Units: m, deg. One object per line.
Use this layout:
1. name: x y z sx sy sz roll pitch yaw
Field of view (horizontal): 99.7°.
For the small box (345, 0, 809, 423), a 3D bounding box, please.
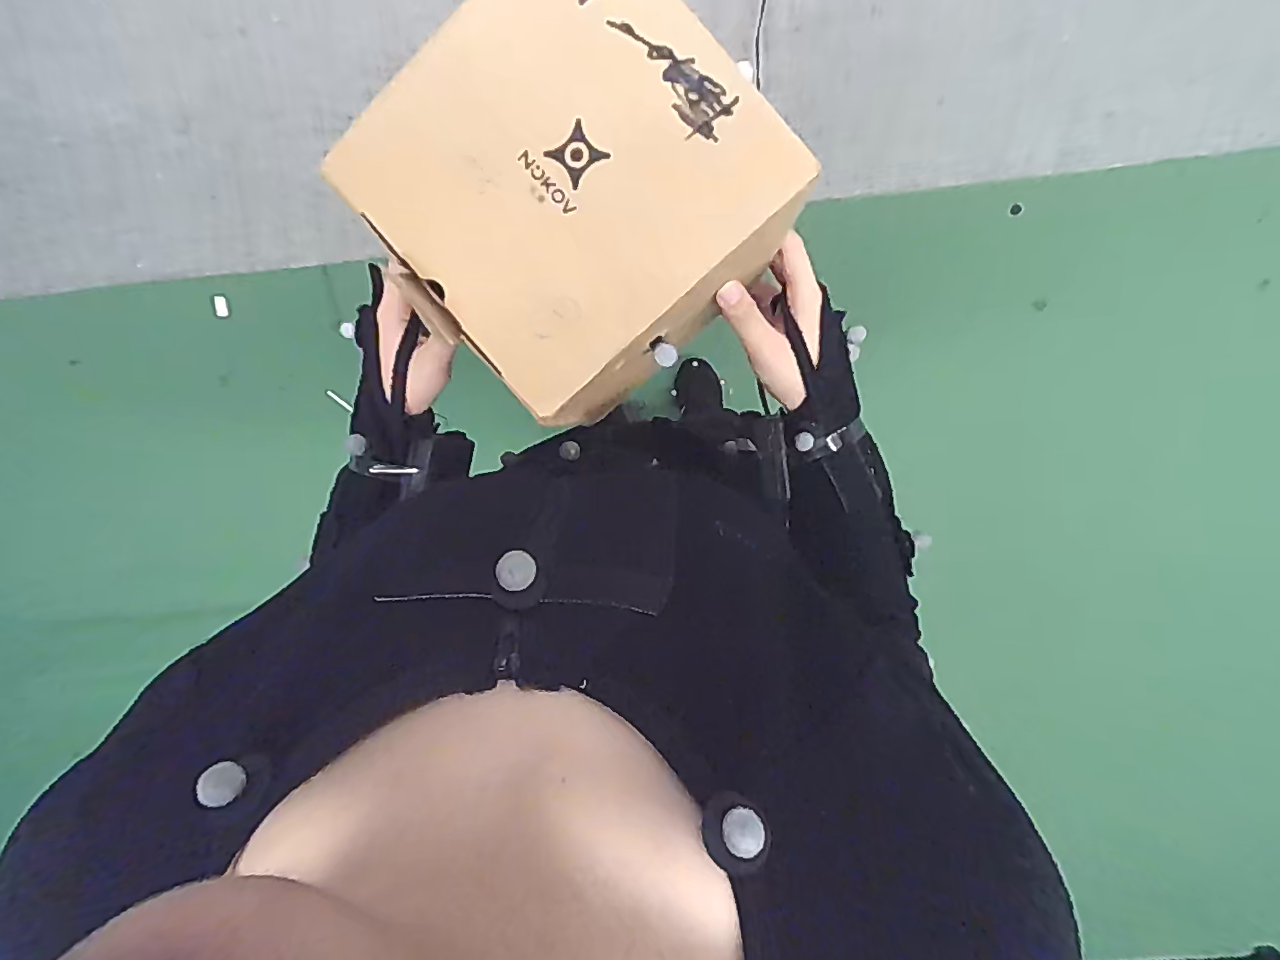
1. small box: -0.027 -0.150 0.341 0.179 0.176 0.168 -41 92 7
